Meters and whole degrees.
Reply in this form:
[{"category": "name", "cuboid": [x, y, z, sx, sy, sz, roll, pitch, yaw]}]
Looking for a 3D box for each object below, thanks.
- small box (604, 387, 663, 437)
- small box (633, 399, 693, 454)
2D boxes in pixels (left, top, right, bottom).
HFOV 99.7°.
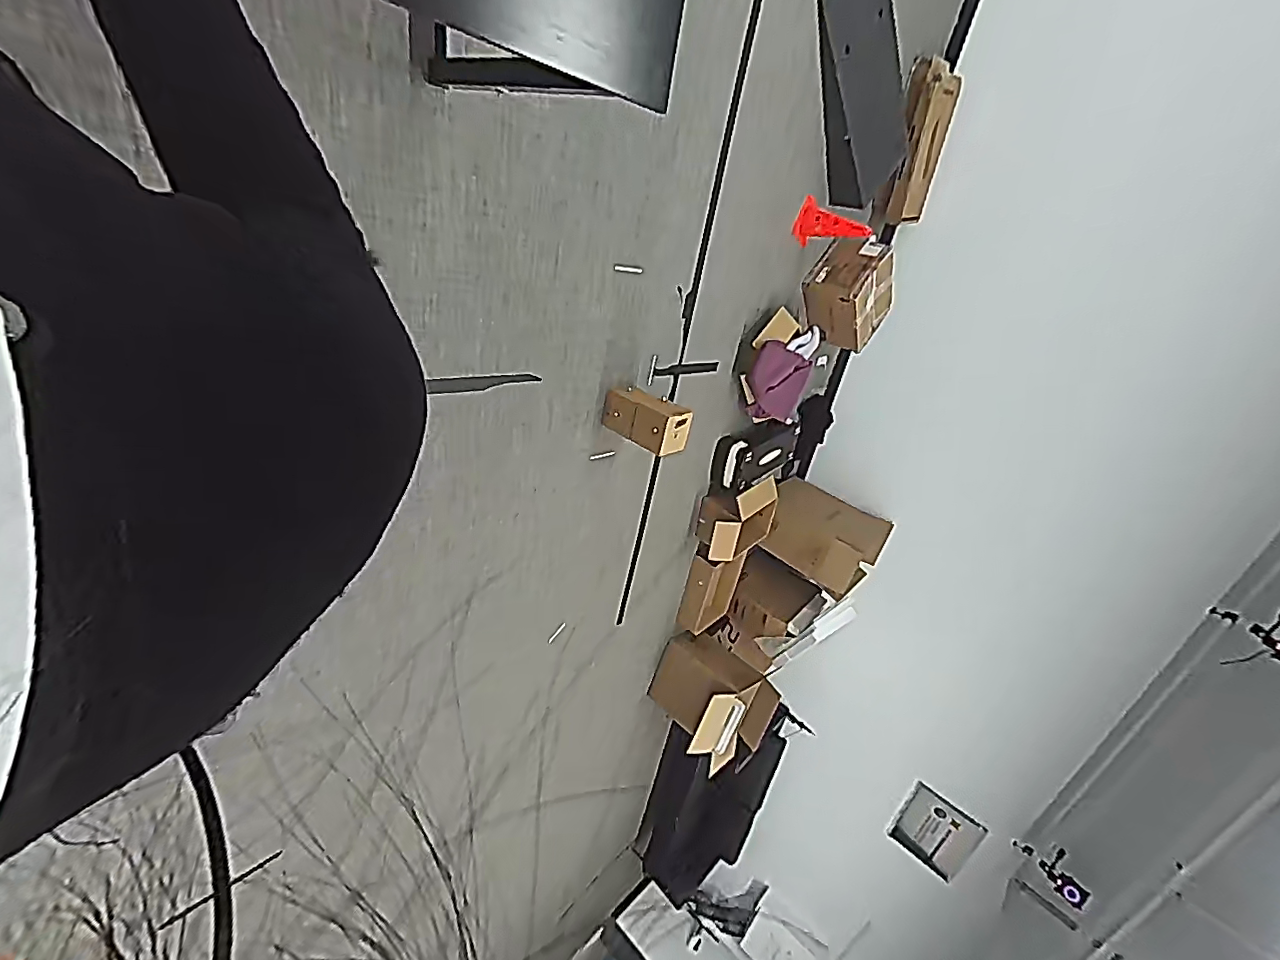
[{"category": "small box", "cuboid": [-0.031, -0.297, 2.329, 0.179, 0.176, 0.168, -15, 127, -46]}, {"category": "small box", "cuboid": [0.090, -0.229, 2.237, 0.168, 0.176, 0.179, -17, 130, -46]}]
